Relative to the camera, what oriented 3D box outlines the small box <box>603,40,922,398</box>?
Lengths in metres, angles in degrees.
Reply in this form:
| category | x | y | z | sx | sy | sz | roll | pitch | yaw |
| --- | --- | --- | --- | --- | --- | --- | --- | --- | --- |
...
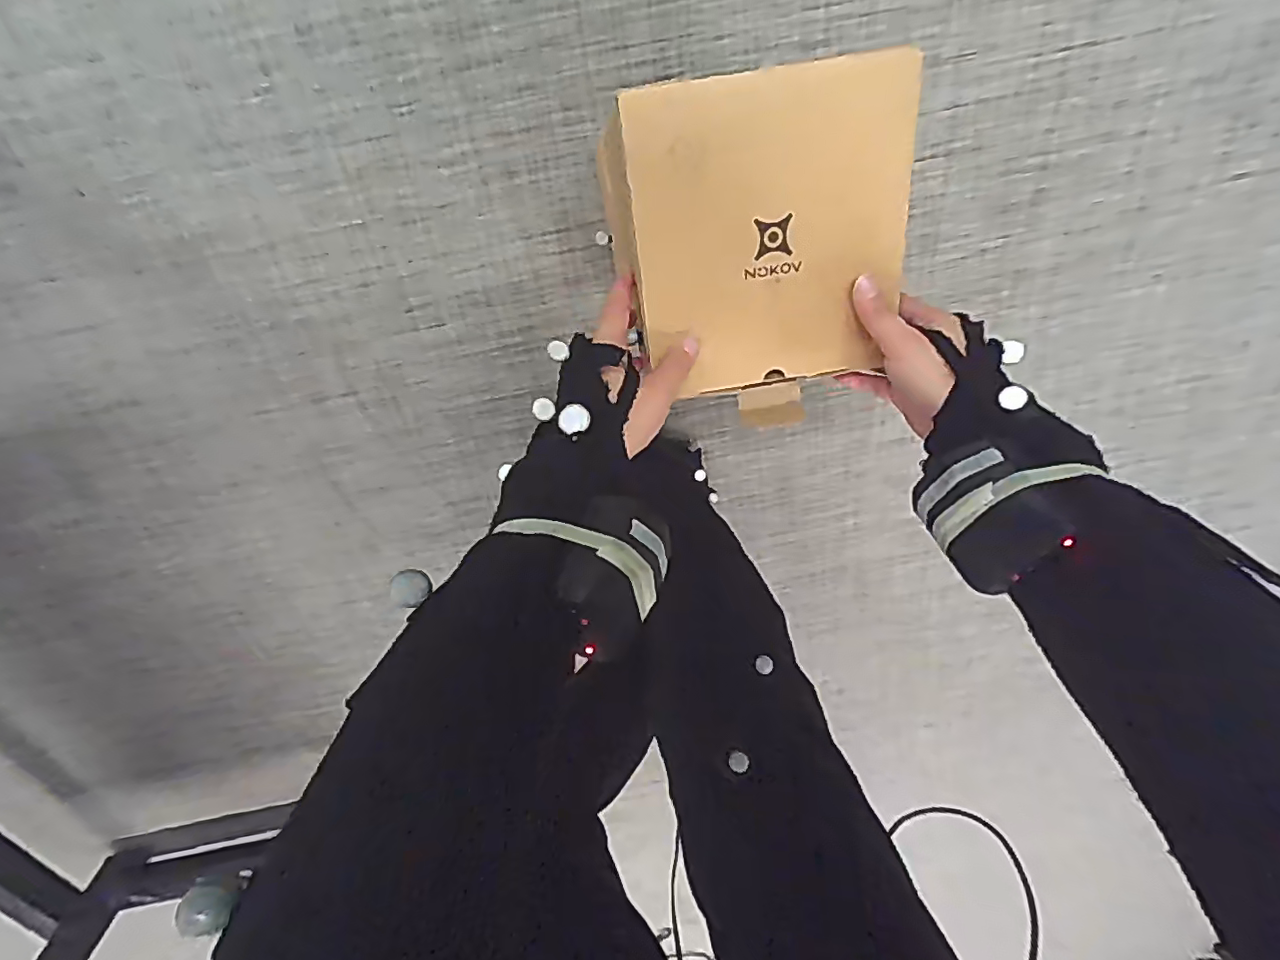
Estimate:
| category | x | y | z | sx | sy | sz | roll | pitch | yaw |
| --- | --- | --- | --- | --- | --- | --- | --- | --- | --- |
| small box | 0.068 | -0.178 | 0.387 | 0.168 | 0.176 | 0.179 | -9 | 119 | -2 |
